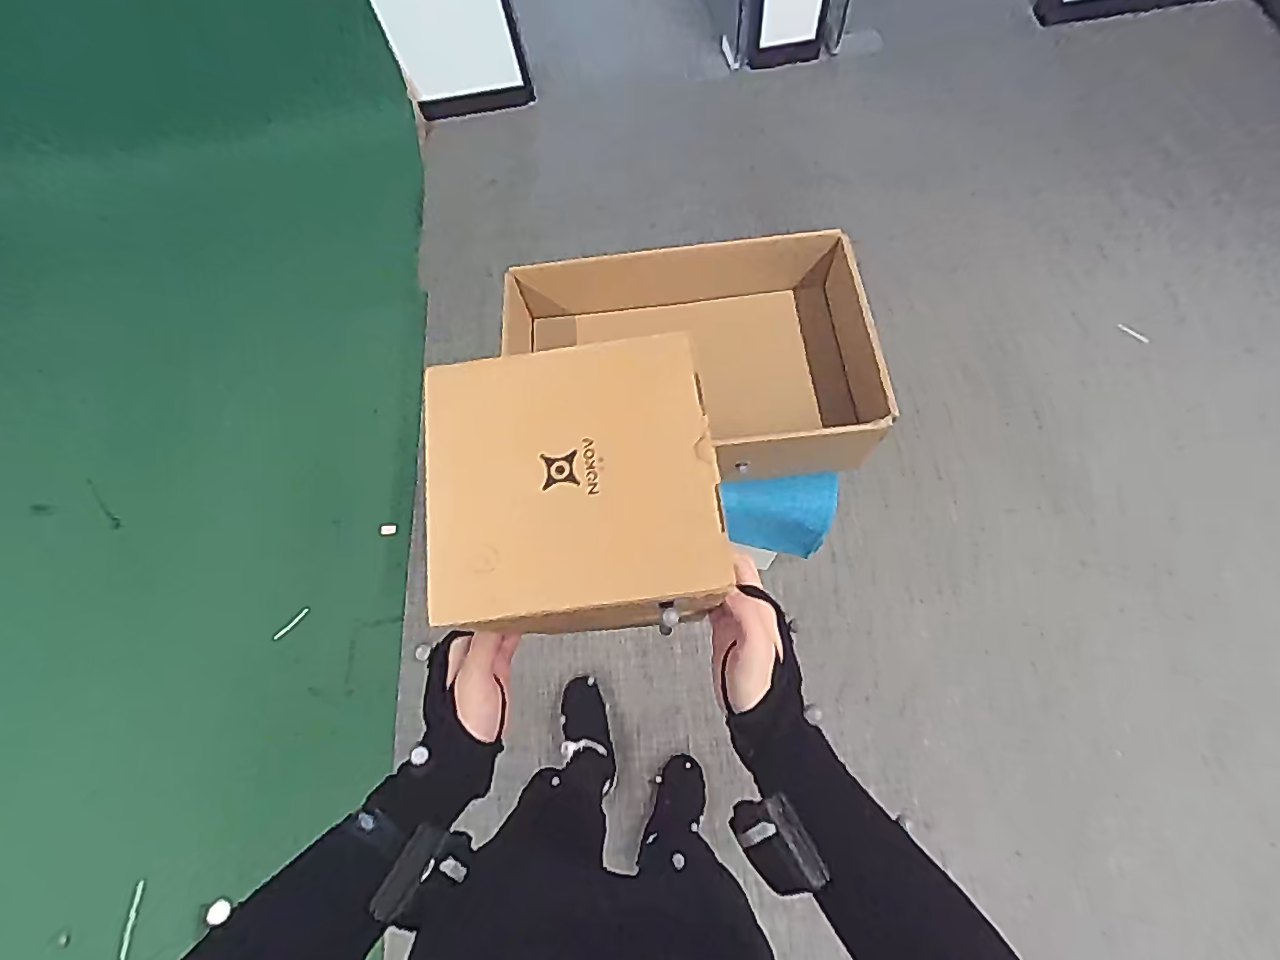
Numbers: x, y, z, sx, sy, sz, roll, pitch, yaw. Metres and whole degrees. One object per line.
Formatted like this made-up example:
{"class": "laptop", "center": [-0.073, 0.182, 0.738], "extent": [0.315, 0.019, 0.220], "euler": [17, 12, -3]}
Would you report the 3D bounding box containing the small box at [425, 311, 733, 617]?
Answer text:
{"class": "small box", "center": [-0.036, 0.005, 0.397], "extent": [0.179, 0.176, 0.168], "euler": [-8, 73, 1]}
